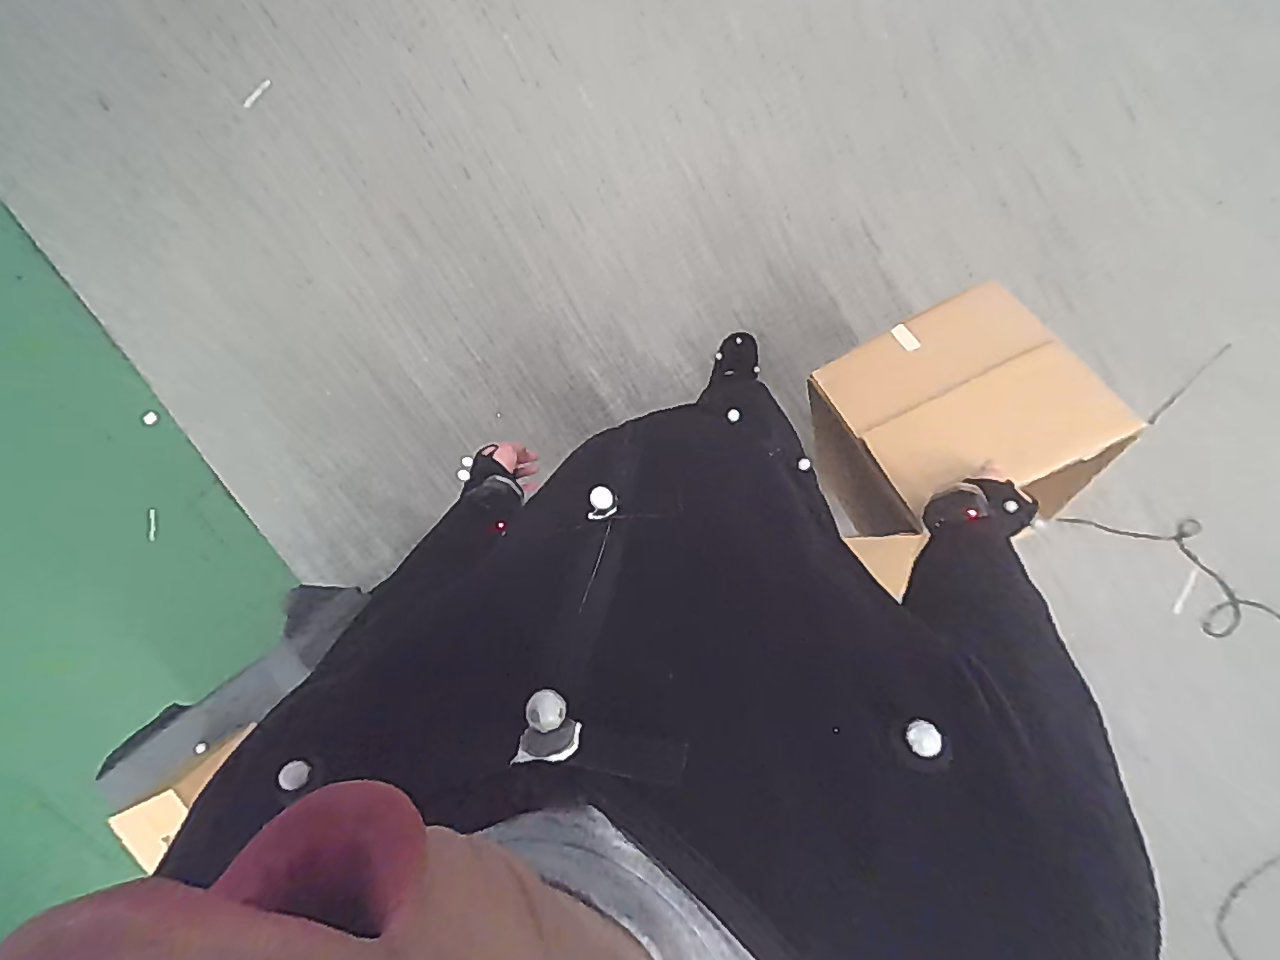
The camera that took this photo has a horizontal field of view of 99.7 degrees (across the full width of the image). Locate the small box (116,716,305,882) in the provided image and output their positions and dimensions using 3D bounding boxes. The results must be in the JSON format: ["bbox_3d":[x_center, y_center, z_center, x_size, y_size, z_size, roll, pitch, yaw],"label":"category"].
[{"bbox_3d":[-0.763,0.570,0.981,0.168,0.176,0.179,-27,98,14],"label":"small box"}]
